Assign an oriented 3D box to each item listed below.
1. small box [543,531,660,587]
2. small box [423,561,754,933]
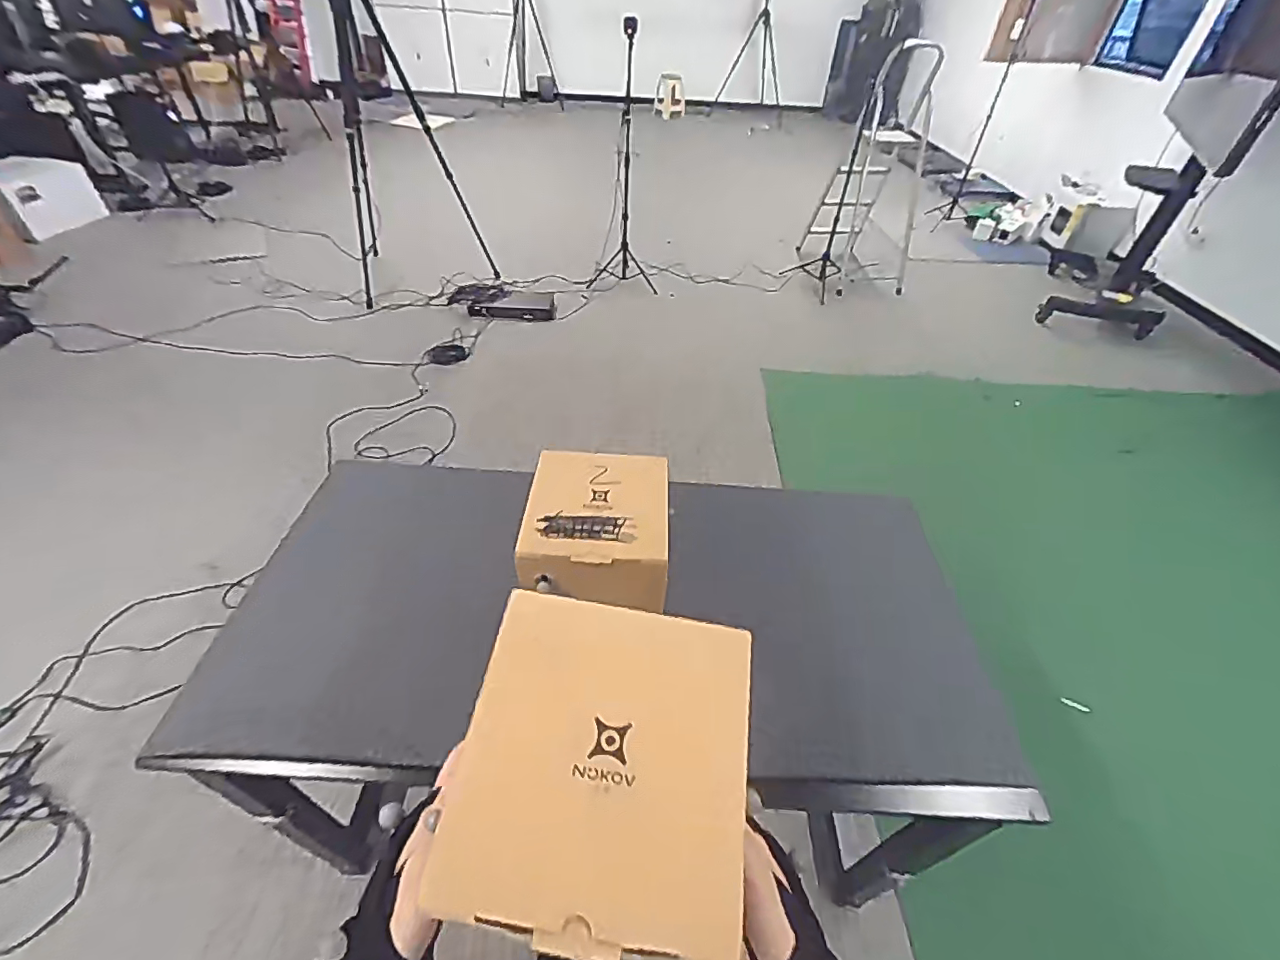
[{"bbox_3d":[-0.059,0.196,0.795,0.168,0.176,0.179,1,42,-3],"label":"small box"},{"bbox_3d":[-0.024,0.183,0.376,0.168,0.176,0.179,10,54,0],"label":"small box"}]
